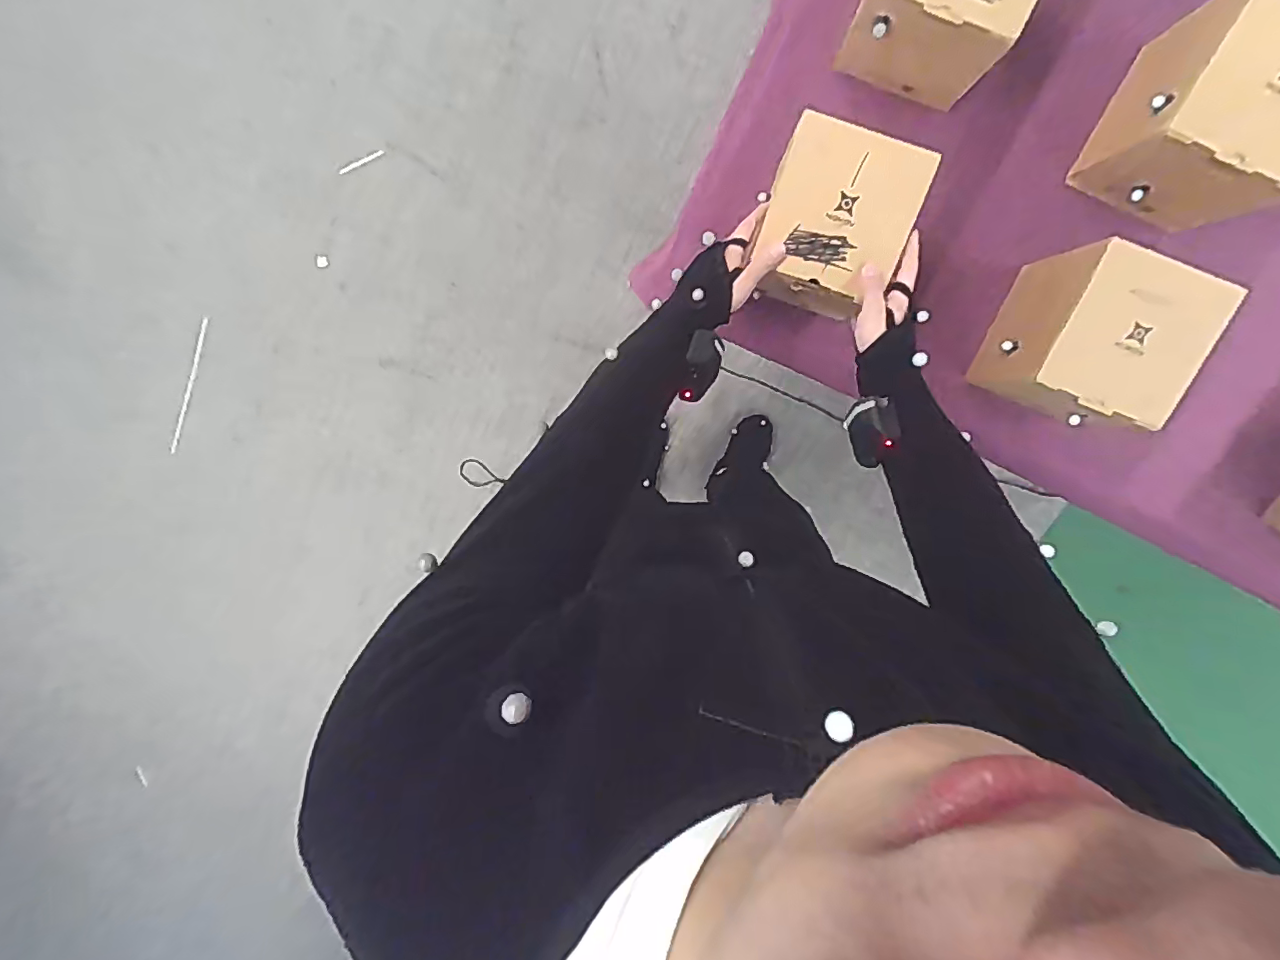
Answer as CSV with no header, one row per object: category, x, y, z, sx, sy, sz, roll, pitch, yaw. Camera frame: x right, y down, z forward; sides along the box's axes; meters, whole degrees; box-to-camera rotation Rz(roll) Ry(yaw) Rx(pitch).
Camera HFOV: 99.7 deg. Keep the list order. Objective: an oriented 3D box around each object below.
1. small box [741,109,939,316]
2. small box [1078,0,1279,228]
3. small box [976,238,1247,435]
small box,0.238,-0.325,0.699,0.168,0.176,0.179,20,102,1
small box,0.679,-0.429,0.633,0.168,0.176,0.179,25,105,0
small box,0.576,-0.177,0.697,0.168,0.176,0.179,23,102,0
